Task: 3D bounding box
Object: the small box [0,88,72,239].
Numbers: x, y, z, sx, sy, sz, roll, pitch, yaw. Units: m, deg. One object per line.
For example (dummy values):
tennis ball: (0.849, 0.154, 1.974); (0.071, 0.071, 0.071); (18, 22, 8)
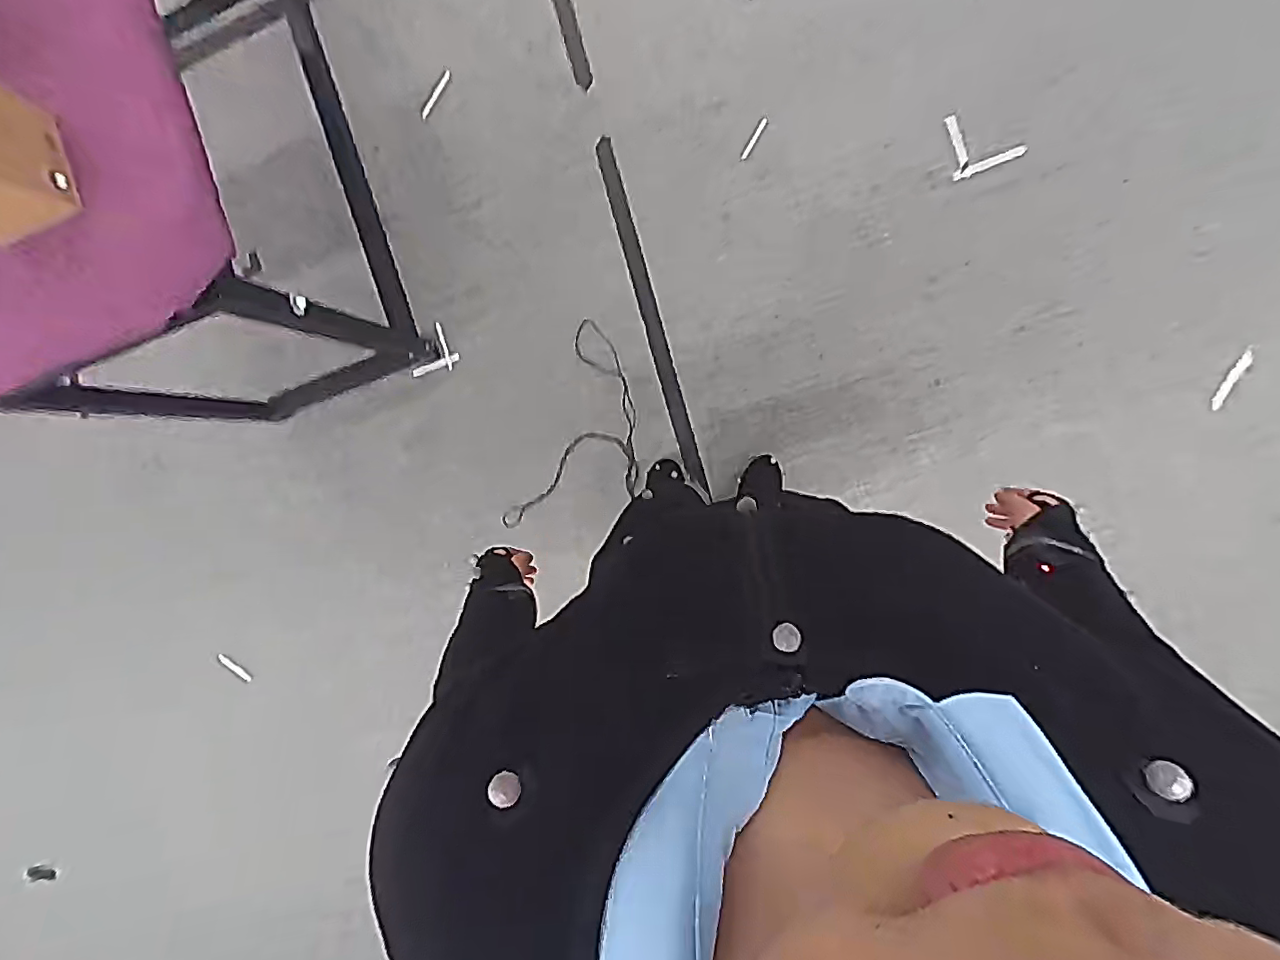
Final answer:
small box: (-1.016, -0.493, 0.808); (0.179, 0.176, 0.168); (-17, 91, 9)
